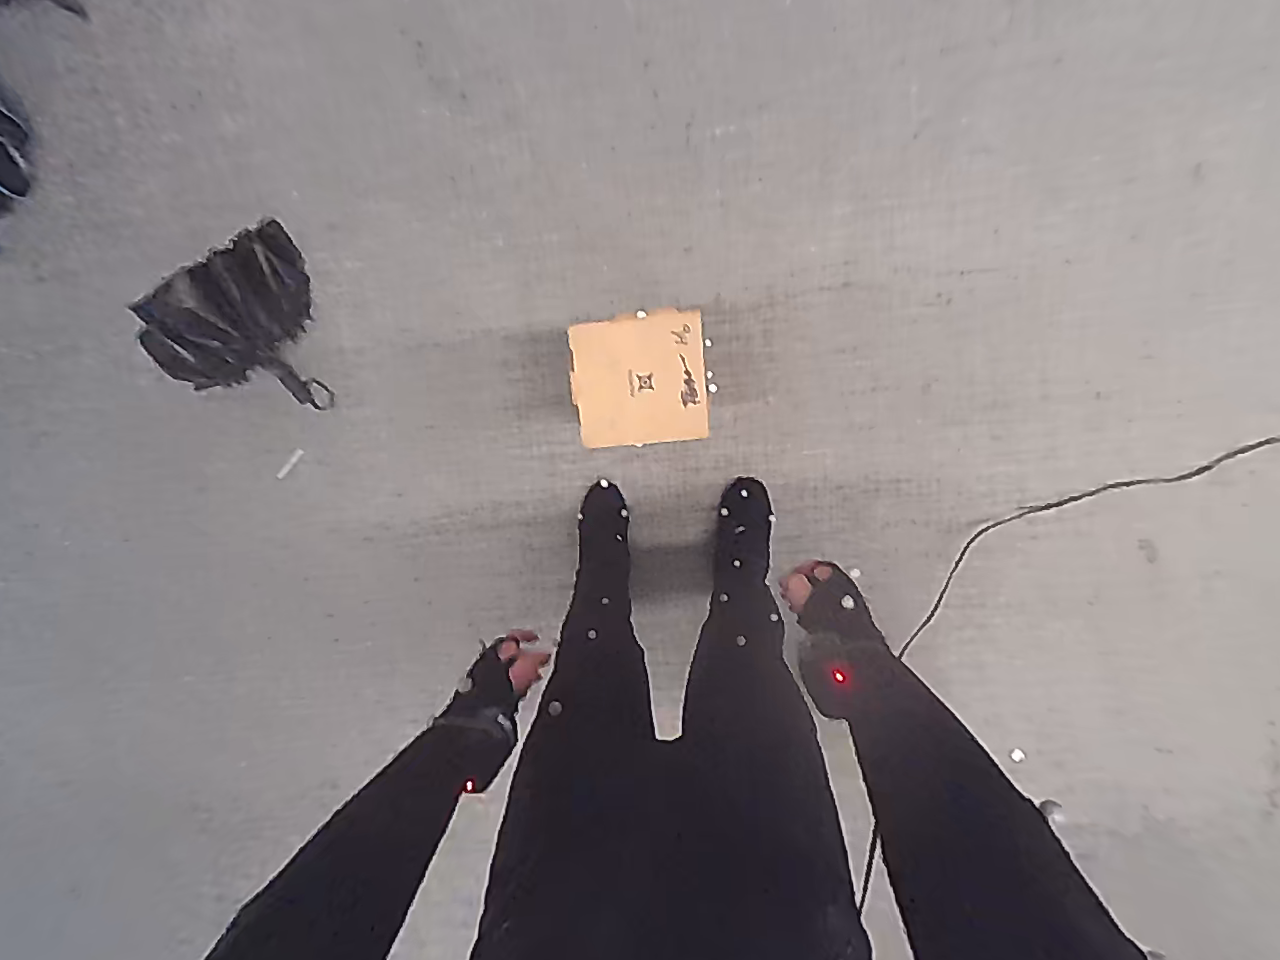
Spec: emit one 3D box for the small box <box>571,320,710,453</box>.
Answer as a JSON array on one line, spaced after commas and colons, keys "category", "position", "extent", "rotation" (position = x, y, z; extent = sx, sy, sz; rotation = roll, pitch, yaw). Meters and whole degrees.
[{"category": "small box", "position": [0.011, -0.136, 0.787], "extent": [0.179, 0.176, 0.168], "rotation": [-4, 102, 8]}]
